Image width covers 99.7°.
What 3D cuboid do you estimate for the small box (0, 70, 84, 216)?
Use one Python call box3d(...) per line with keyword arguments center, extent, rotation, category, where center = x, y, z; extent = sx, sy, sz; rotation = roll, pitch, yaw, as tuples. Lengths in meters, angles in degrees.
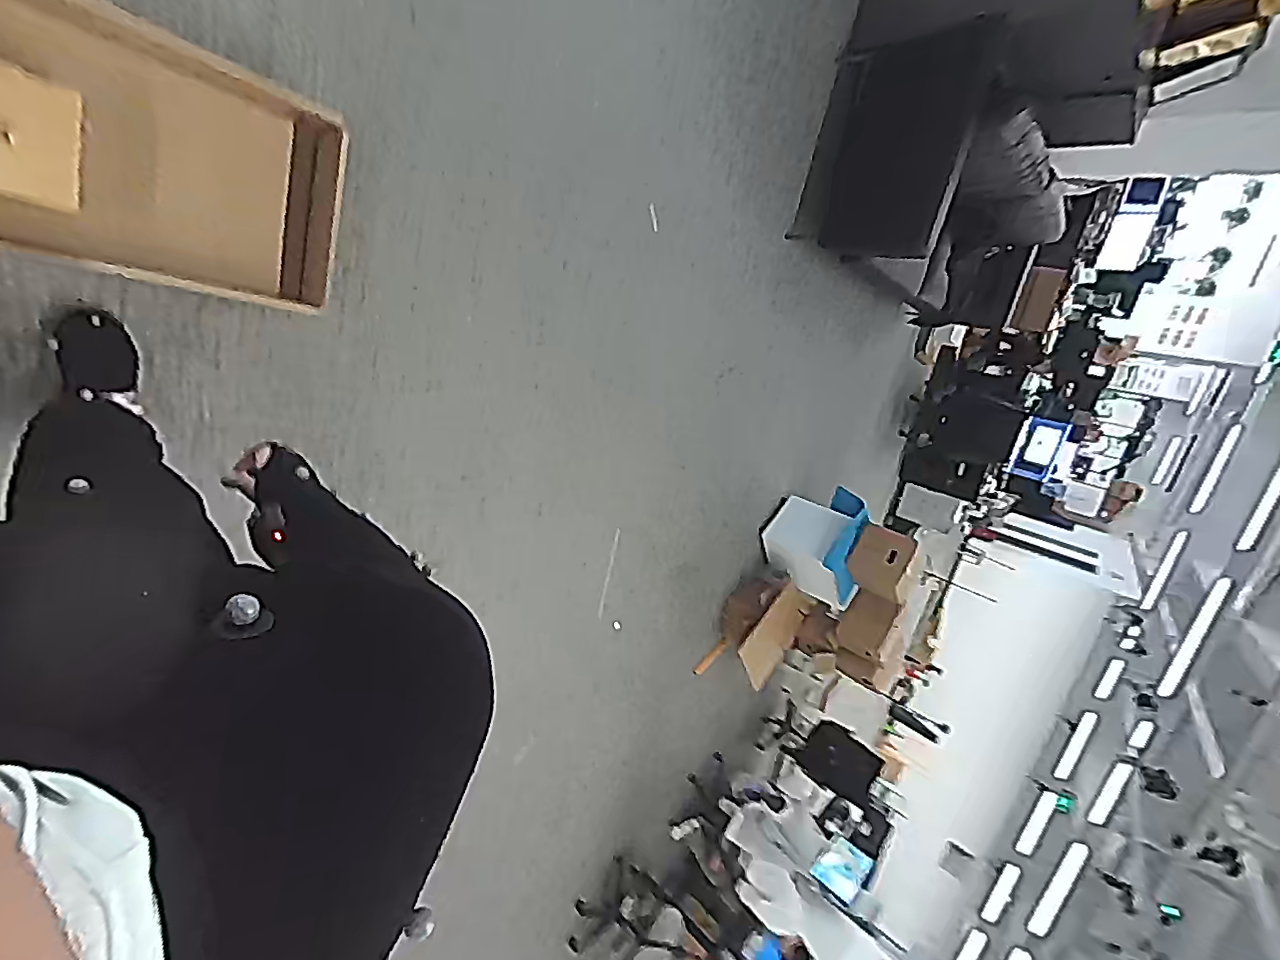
box3d(center=(-0.991, -0.530, 0.840), extent=(0.168, 0.176, 0.179), rotation=(-1, 108, -50), category="small box")
